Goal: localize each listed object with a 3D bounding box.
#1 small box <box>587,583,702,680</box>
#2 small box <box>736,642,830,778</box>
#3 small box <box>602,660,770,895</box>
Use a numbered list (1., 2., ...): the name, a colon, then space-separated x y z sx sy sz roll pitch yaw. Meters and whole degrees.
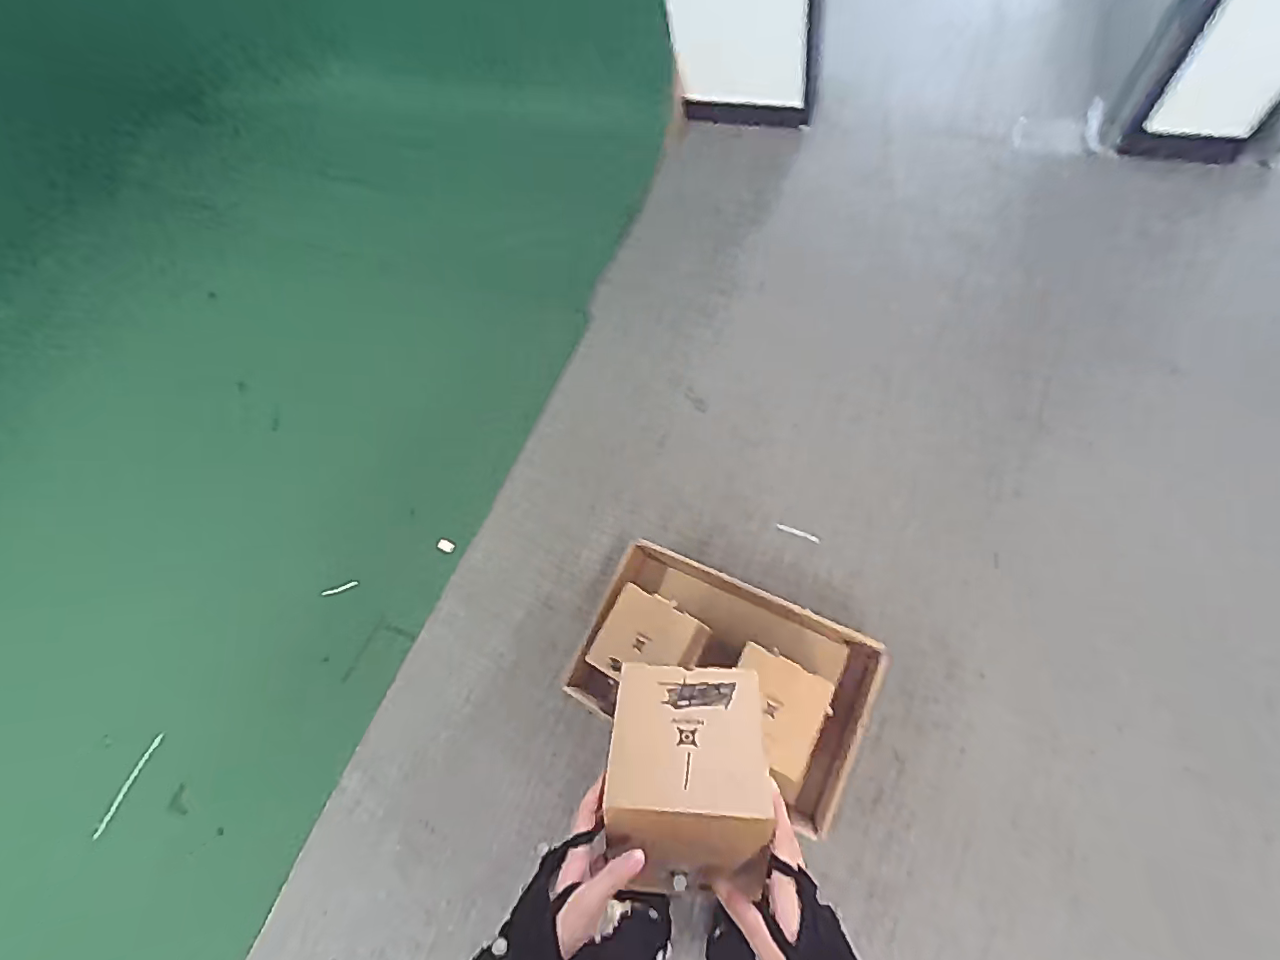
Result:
1. small box: 0.019 0.344 1.130 0.168 0.176 0.179 26 76 22
2. small box: 0.249 0.436 1.042 0.168 0.176 0.179 23 76 22
3. small box: 0.050 0.338 0.630 0.168 0.176 0.179 1 31 4
